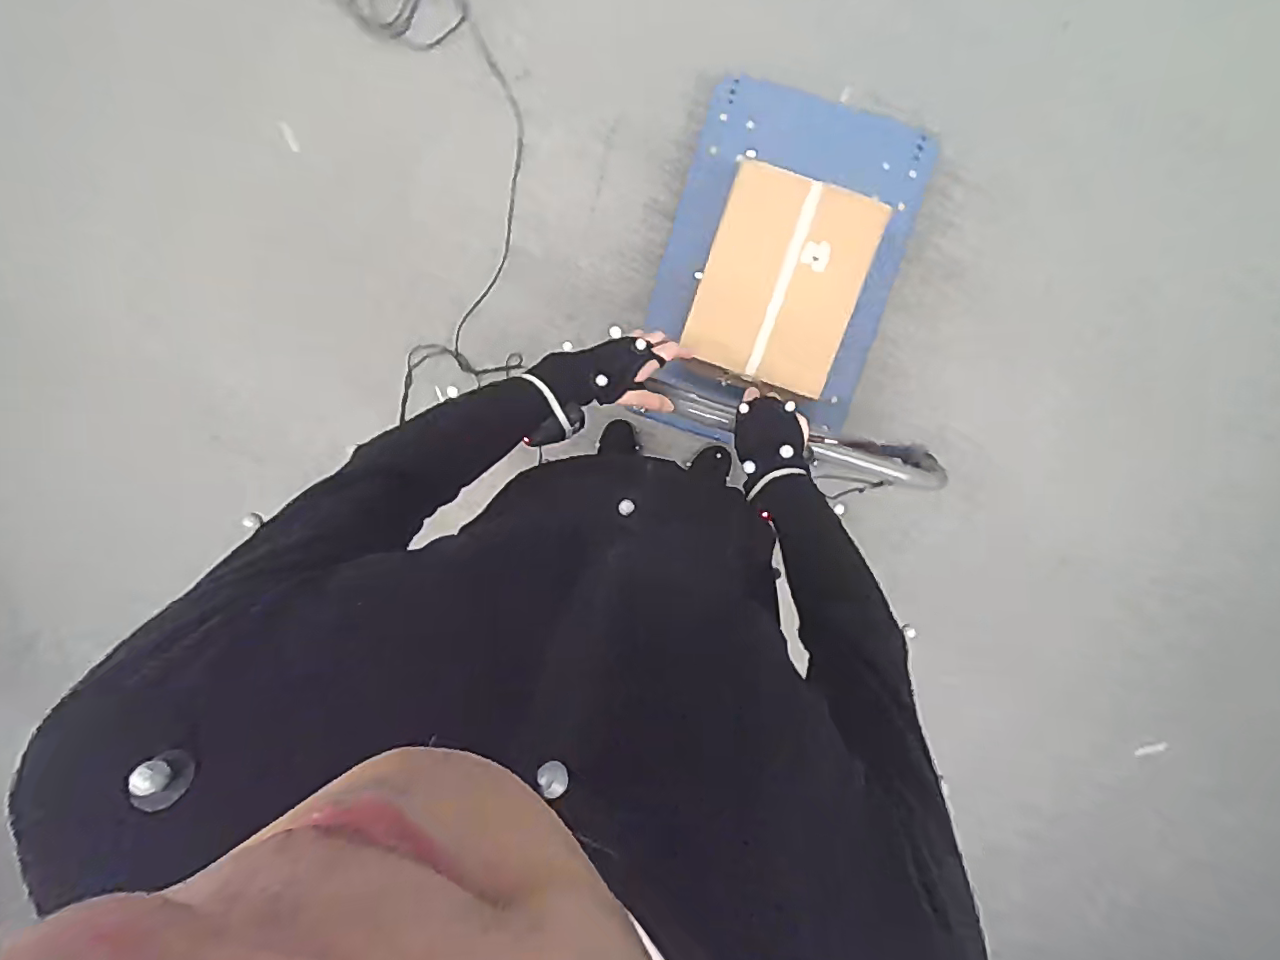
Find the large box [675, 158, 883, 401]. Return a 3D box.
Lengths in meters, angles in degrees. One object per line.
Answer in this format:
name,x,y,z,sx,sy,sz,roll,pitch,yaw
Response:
large box,0.283,-0.419,1.235,0.320,0.320,0.408,19,97,-1
